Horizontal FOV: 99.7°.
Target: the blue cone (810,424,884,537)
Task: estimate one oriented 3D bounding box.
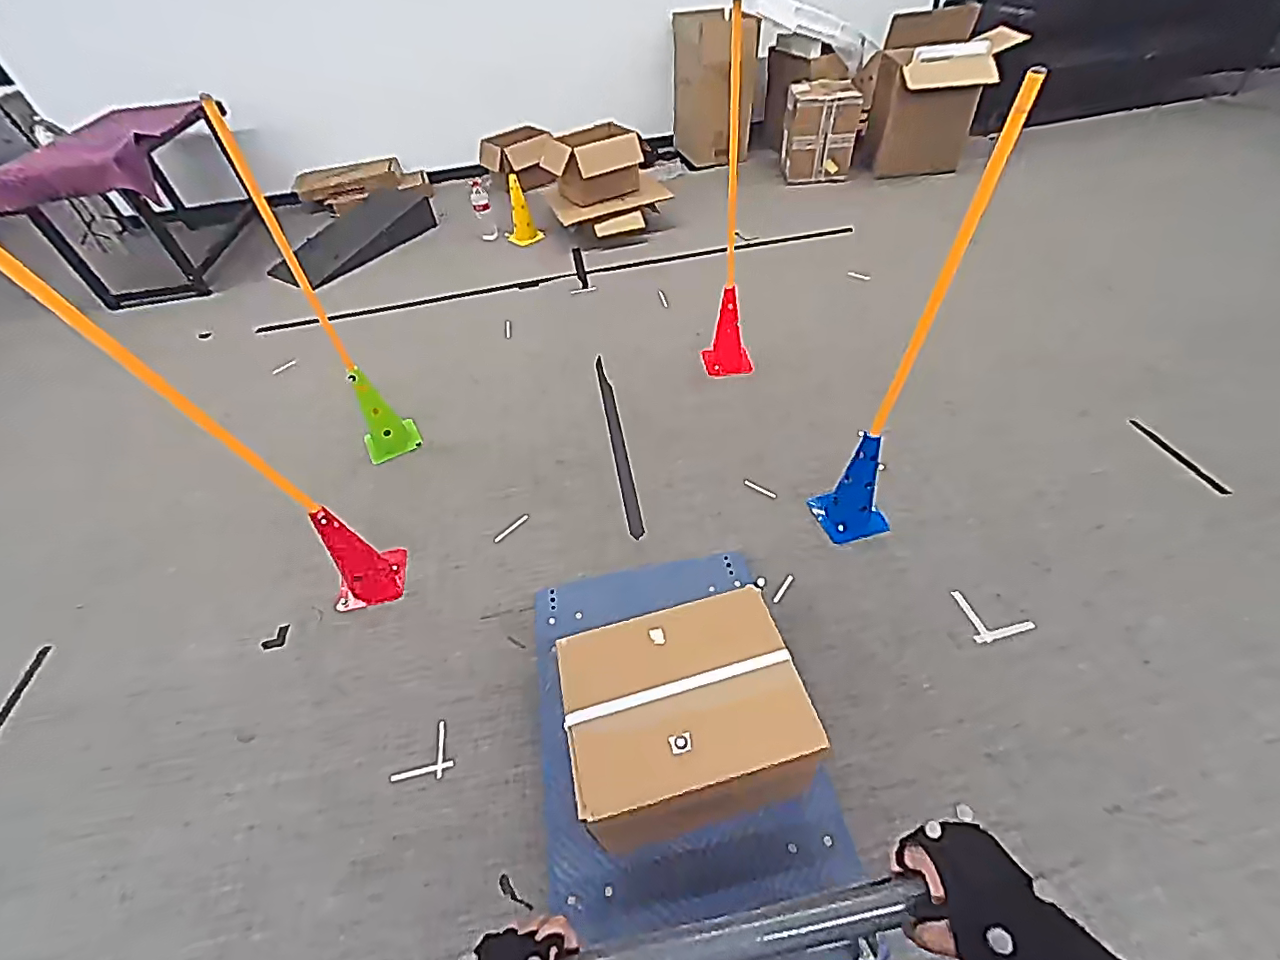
[{"bbox_3d":[0.665,-0.012,1.652,0.193,0.380,0.192,-14,47,-7],"label":"blue cone"}]

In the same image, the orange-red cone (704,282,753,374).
[{"bbox_3d":[0.373,-0.645,2.238,0.199,0.360,0.198,-5,48,0],"label":"orange-red cone"}]
